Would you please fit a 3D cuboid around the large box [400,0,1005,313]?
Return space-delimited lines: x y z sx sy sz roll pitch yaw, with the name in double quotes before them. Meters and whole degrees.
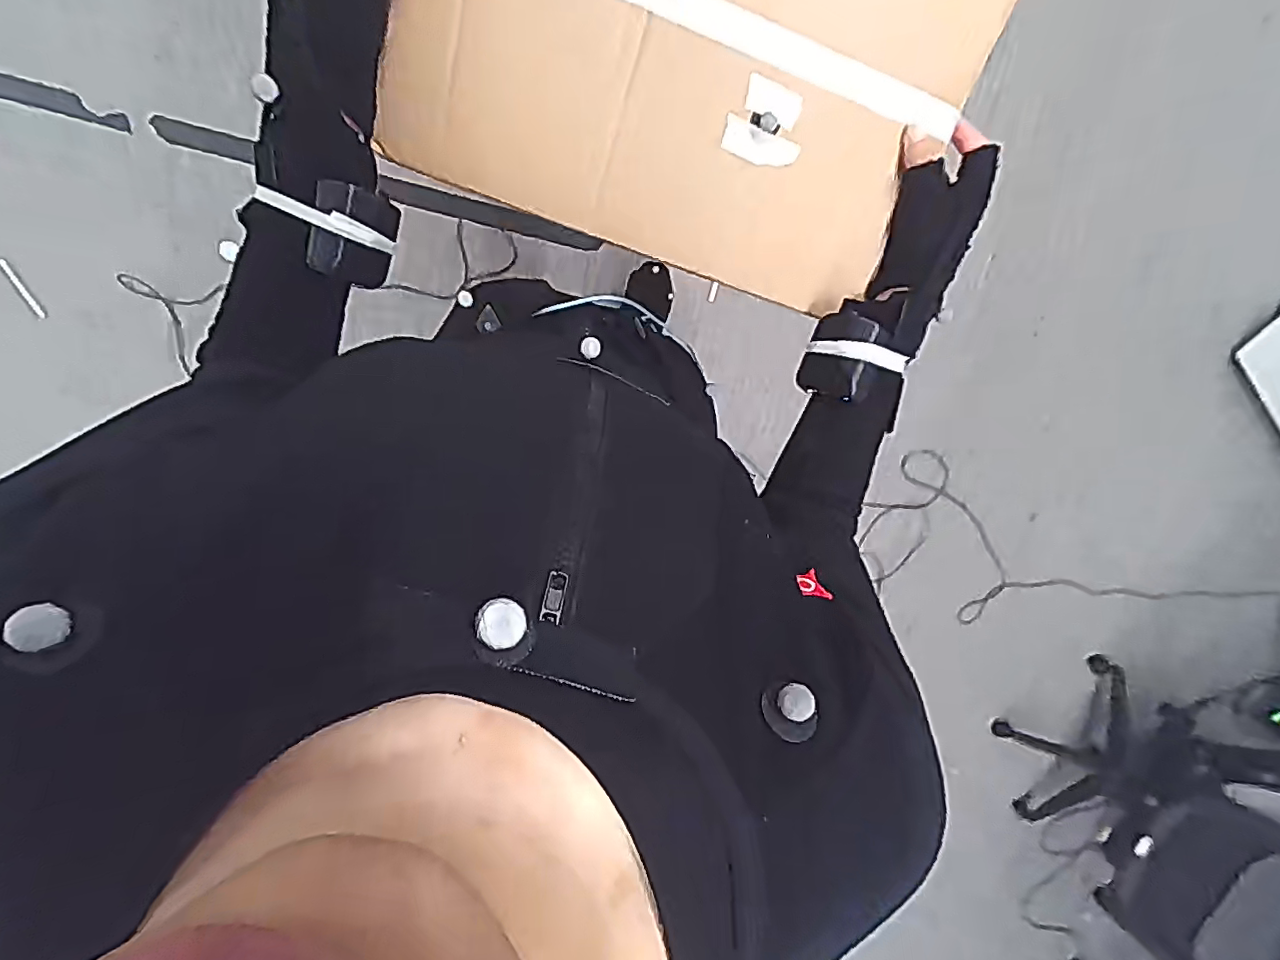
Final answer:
"large box" 0.039 -0.393 0.517 0.408 0.320 0.320 15 116 -12
